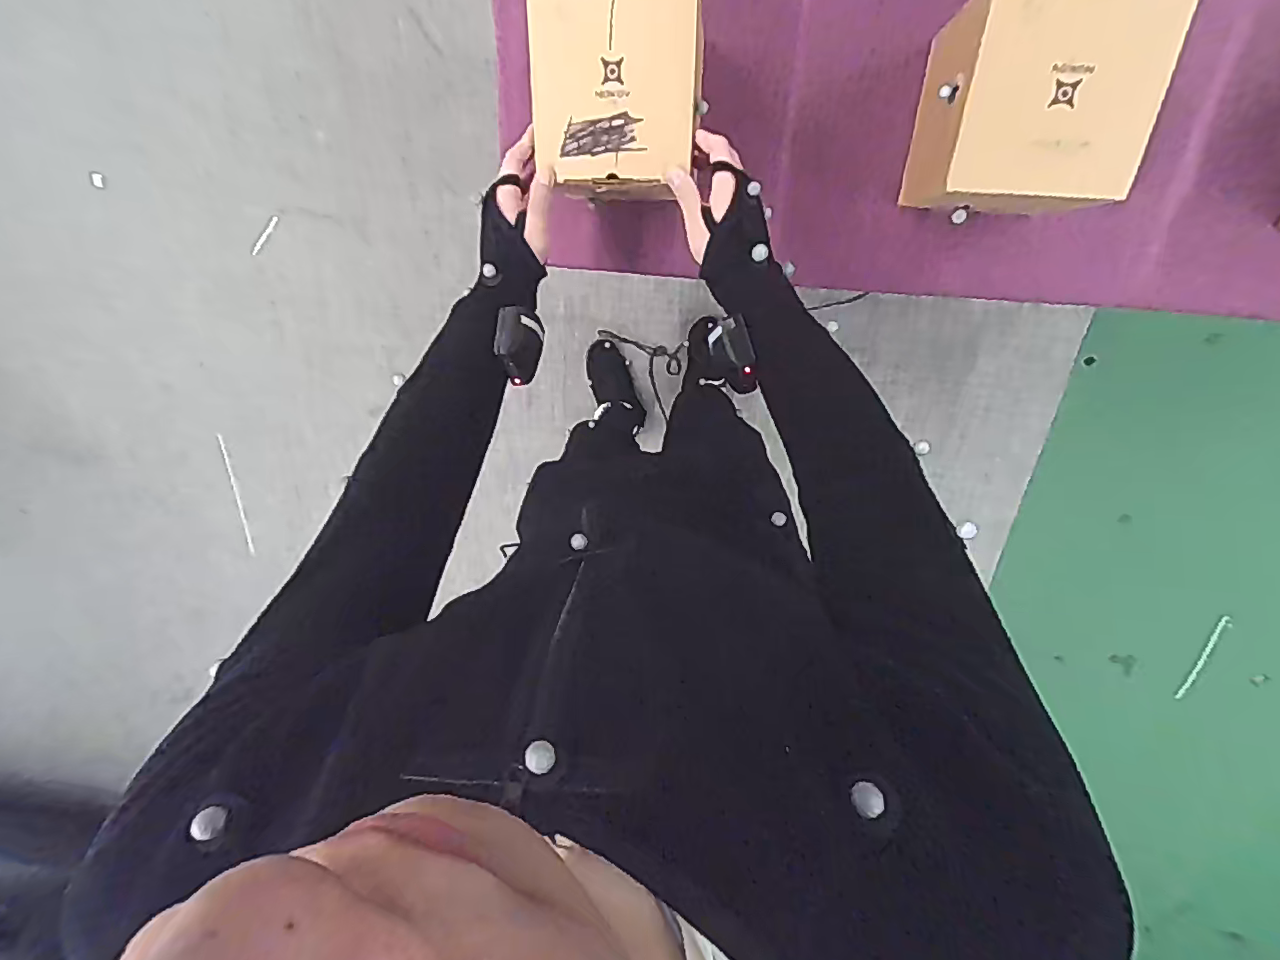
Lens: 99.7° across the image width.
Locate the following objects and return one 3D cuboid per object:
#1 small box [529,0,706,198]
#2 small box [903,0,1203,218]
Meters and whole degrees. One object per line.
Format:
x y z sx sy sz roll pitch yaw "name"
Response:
-0.015 -0.417 0.598 0.168 0.176 0.179 4 112 6 "small box"
0.396 -0.380 0.559 0.168 0.176 0.179 7 113 6 "small box"
